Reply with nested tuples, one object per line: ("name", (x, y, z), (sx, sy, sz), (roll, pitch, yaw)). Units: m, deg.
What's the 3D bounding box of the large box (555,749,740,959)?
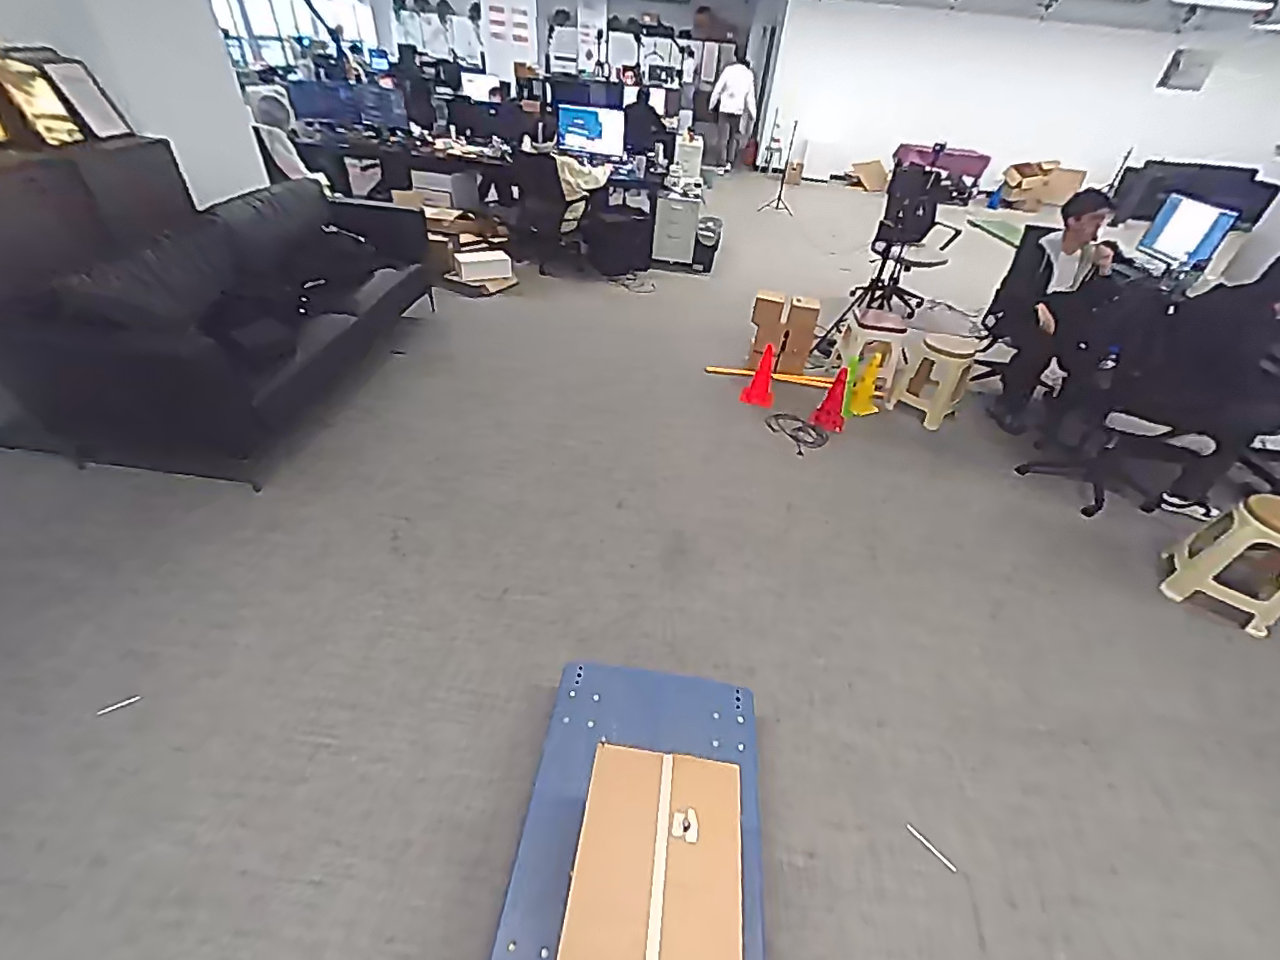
("large box", (0.019, 0.843, 1.109), (0.320, 0.320, 0.408), (8, 37, 2))
